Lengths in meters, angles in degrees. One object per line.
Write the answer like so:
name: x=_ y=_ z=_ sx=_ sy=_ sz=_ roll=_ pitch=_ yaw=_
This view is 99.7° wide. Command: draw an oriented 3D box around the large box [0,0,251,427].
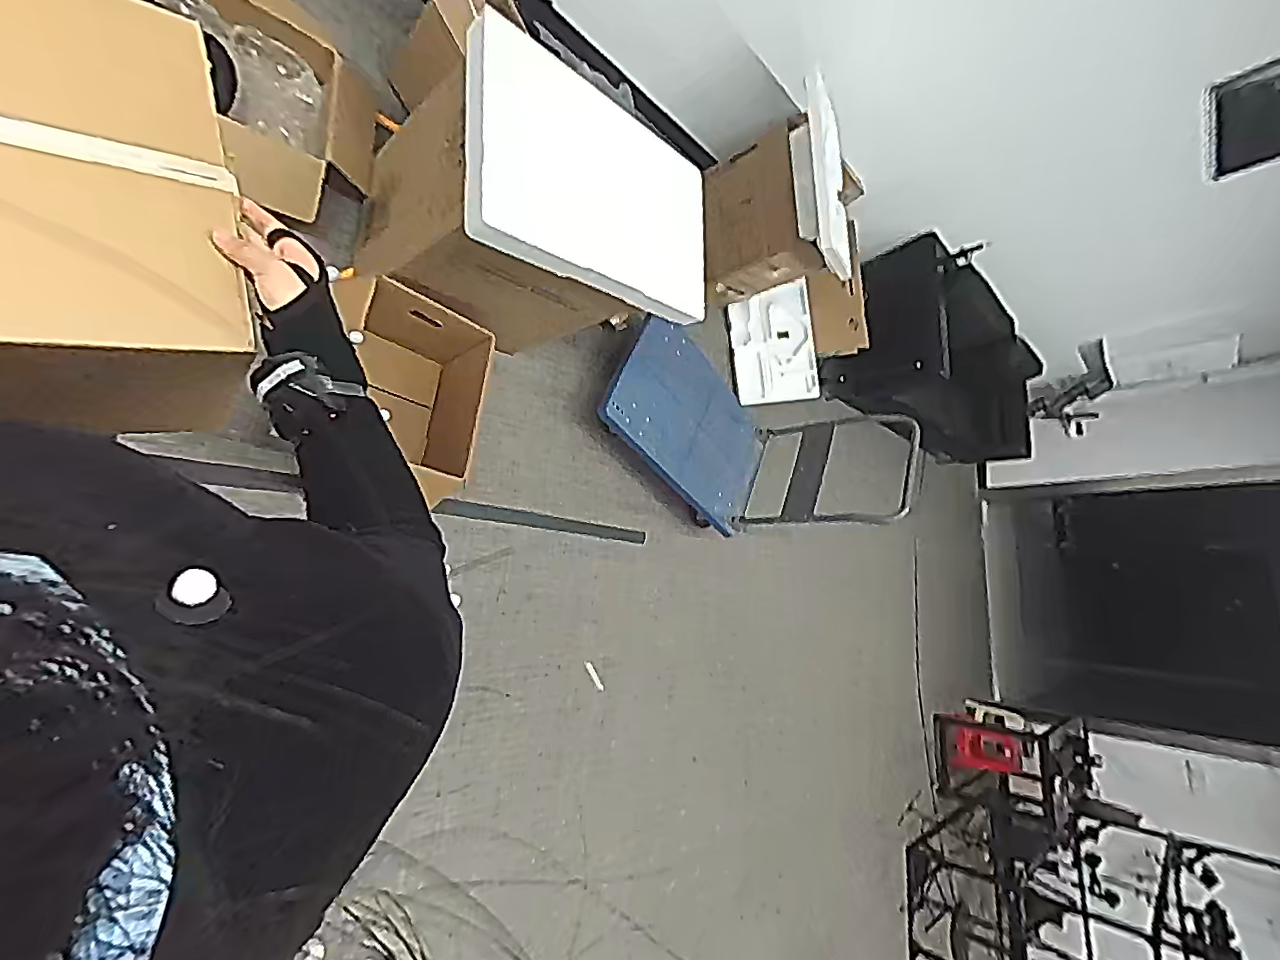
large box: x=-0.624 y=-0.224 z=0.465 sx=0.408 sy=0.320 sz=0.320 roll=-11 pitch=87 yaw=-44
